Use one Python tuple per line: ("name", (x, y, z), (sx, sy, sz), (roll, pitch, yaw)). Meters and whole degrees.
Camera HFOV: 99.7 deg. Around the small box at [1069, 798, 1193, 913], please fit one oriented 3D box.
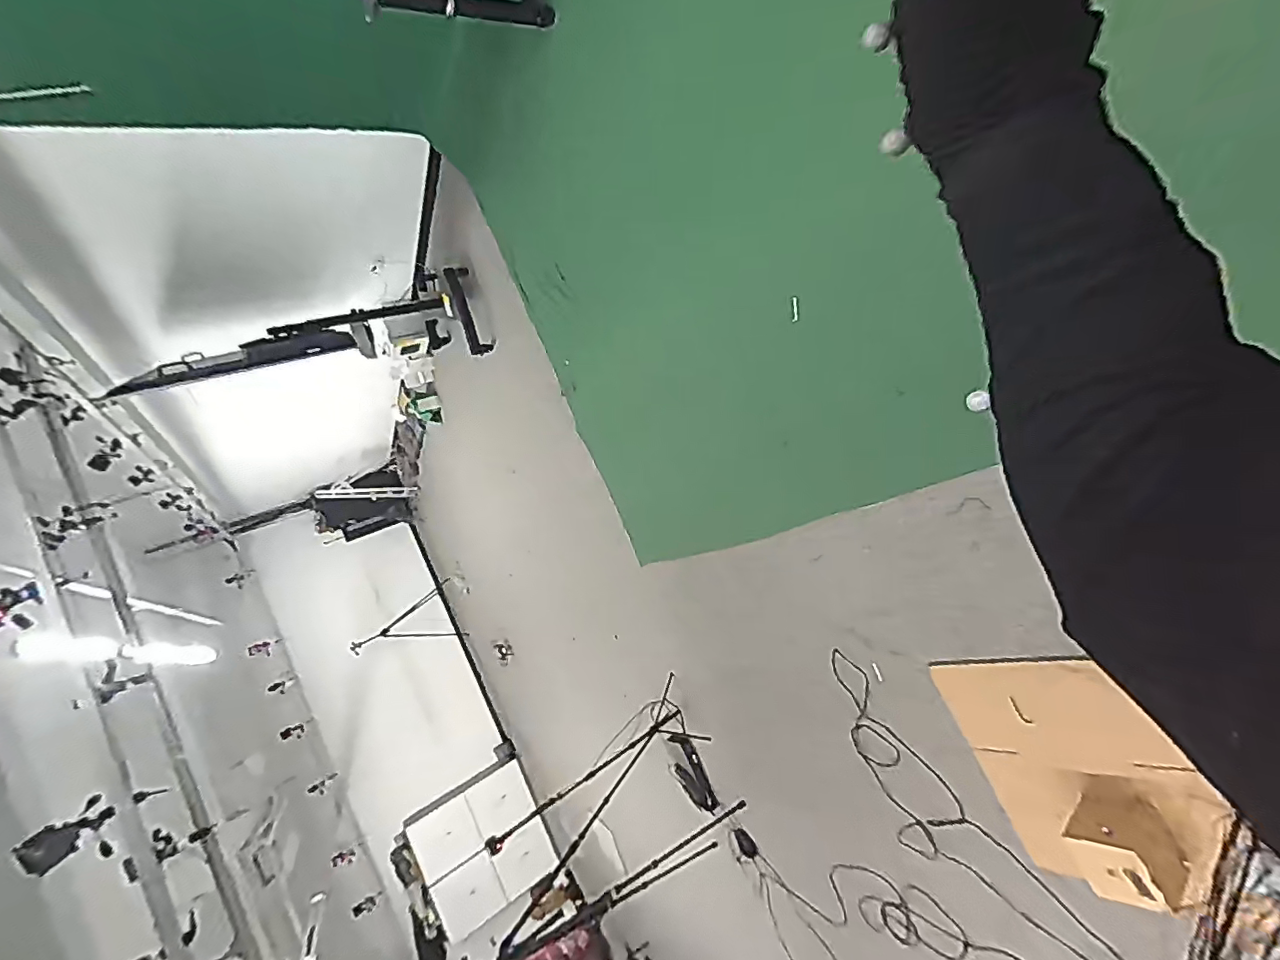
("small box", (1.282, 0.962, 1.407), (0.168, 0.176, 0.179), (62, 149, 8))
